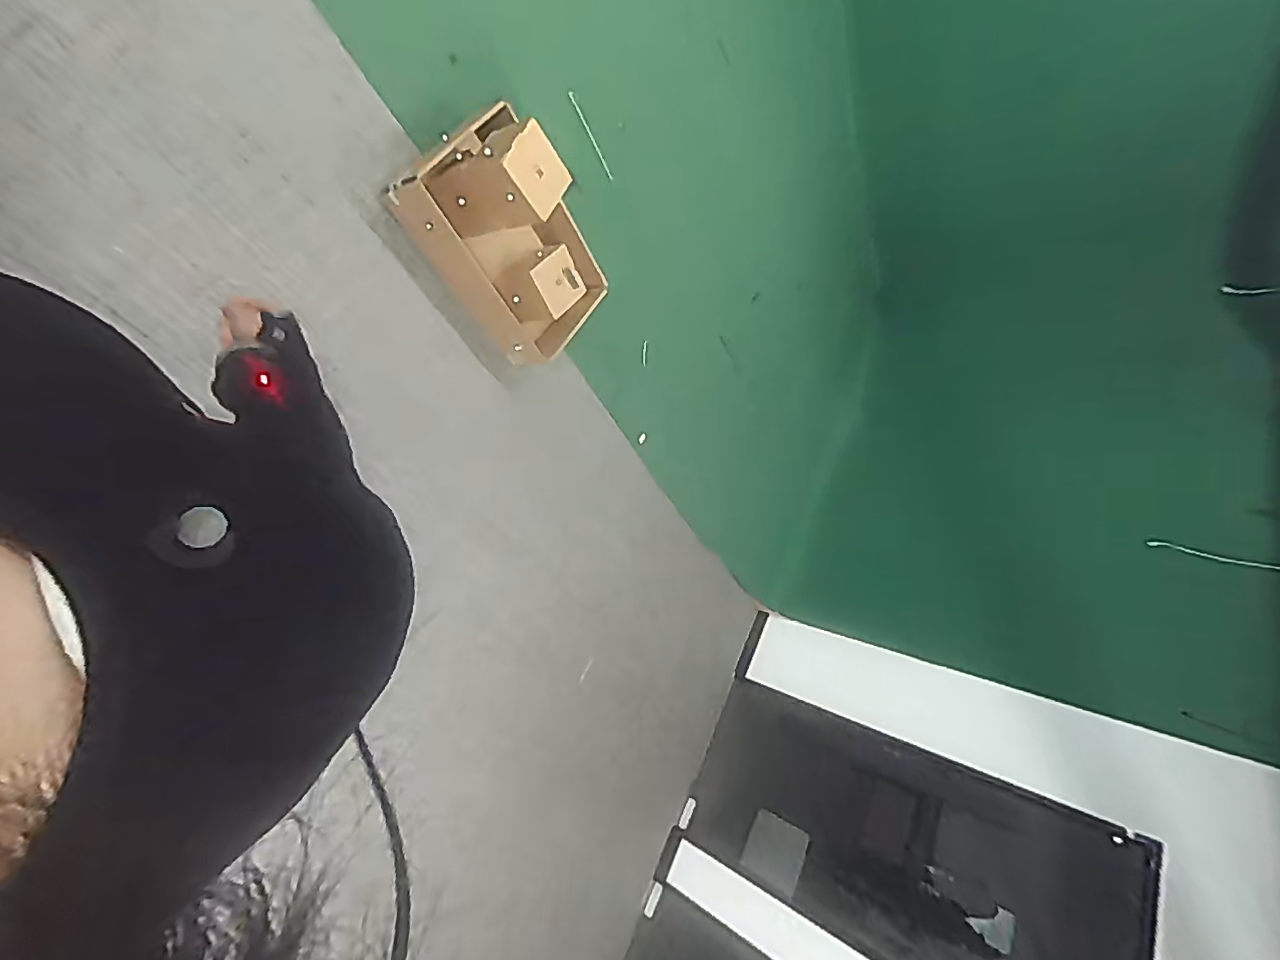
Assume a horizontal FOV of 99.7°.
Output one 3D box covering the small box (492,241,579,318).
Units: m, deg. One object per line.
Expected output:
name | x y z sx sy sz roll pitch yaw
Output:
small box | -0.332 -0.634 1.715 0.179 0.176 0.168 -53 135 -28

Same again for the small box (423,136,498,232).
small box | -0.461 -0.819 1.502 0.168 0.176 0.179 -58 137 -25

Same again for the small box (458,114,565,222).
small box | -0.334 -0.796 1.399 0.179 0.176 0.168 46 64 -49
